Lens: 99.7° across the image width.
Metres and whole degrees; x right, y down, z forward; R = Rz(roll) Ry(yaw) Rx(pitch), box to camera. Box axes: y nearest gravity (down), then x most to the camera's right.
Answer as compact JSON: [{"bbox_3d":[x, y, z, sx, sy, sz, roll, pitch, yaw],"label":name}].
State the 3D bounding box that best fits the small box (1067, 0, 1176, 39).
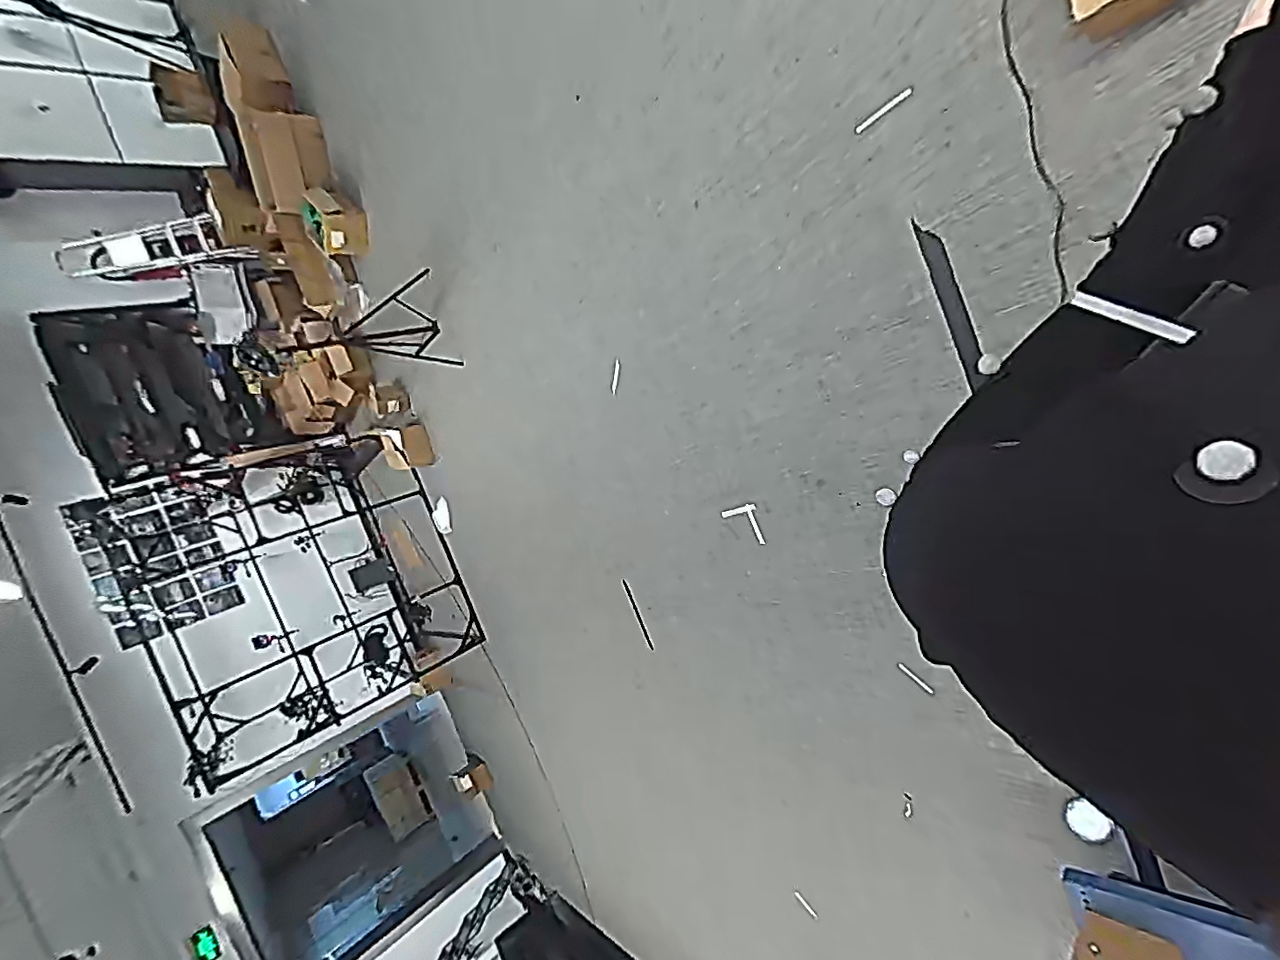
[{"bbox_3d":[0.819,-0.874,0.892,0.168,0.176,0.179,-8,102,50],"label":"small box"}]
